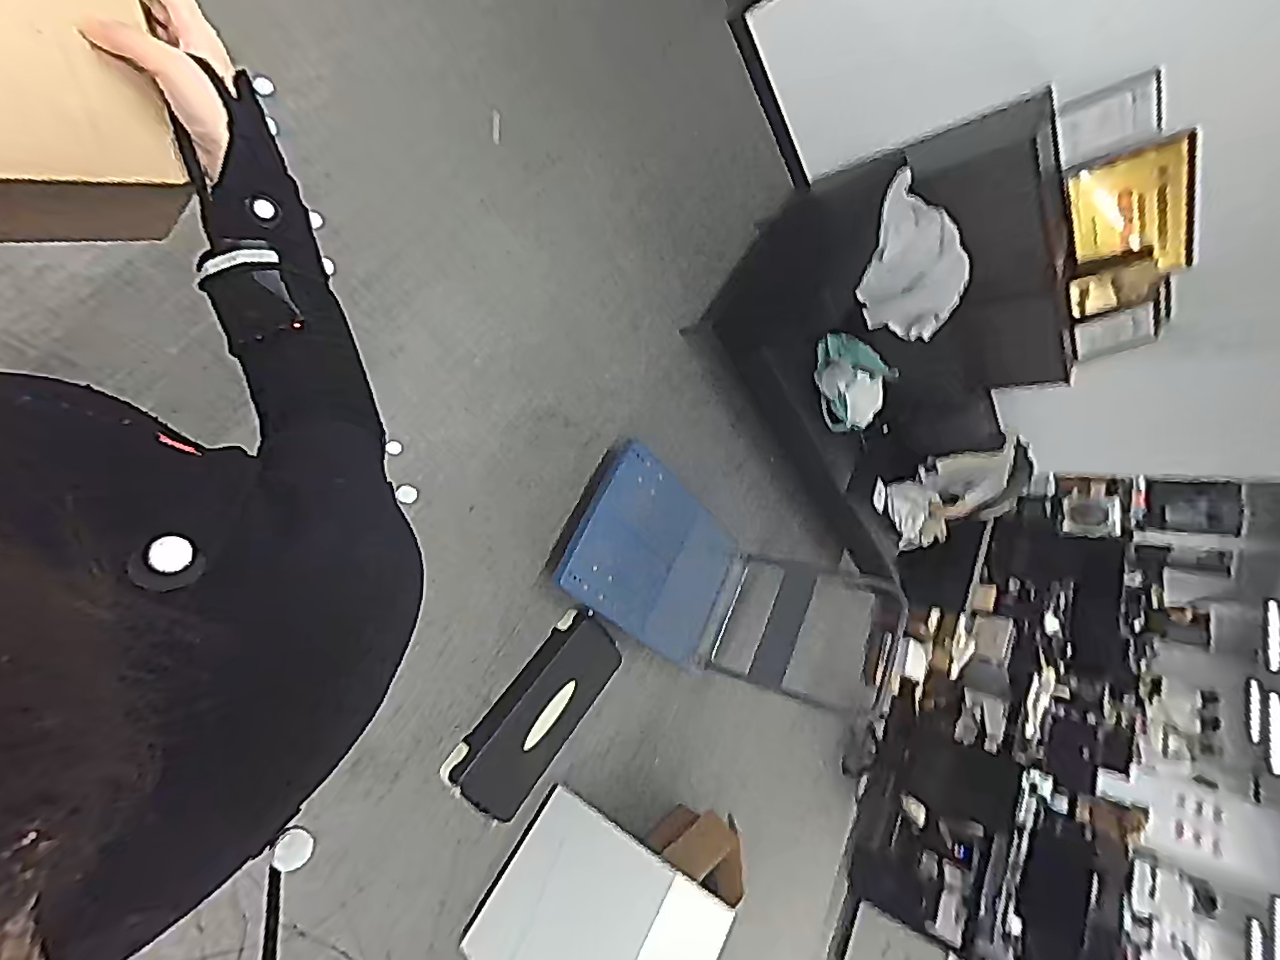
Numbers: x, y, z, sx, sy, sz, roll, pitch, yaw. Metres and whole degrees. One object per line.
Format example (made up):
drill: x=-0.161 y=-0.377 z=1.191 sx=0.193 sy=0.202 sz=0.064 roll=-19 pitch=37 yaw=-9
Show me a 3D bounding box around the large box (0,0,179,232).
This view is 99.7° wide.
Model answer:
large box: x=-0.599 y=-0.328 z=0.330 sx=0.408 sy=0.320 sz=0.320 roll=-23 pitch=116 yaw=-38
